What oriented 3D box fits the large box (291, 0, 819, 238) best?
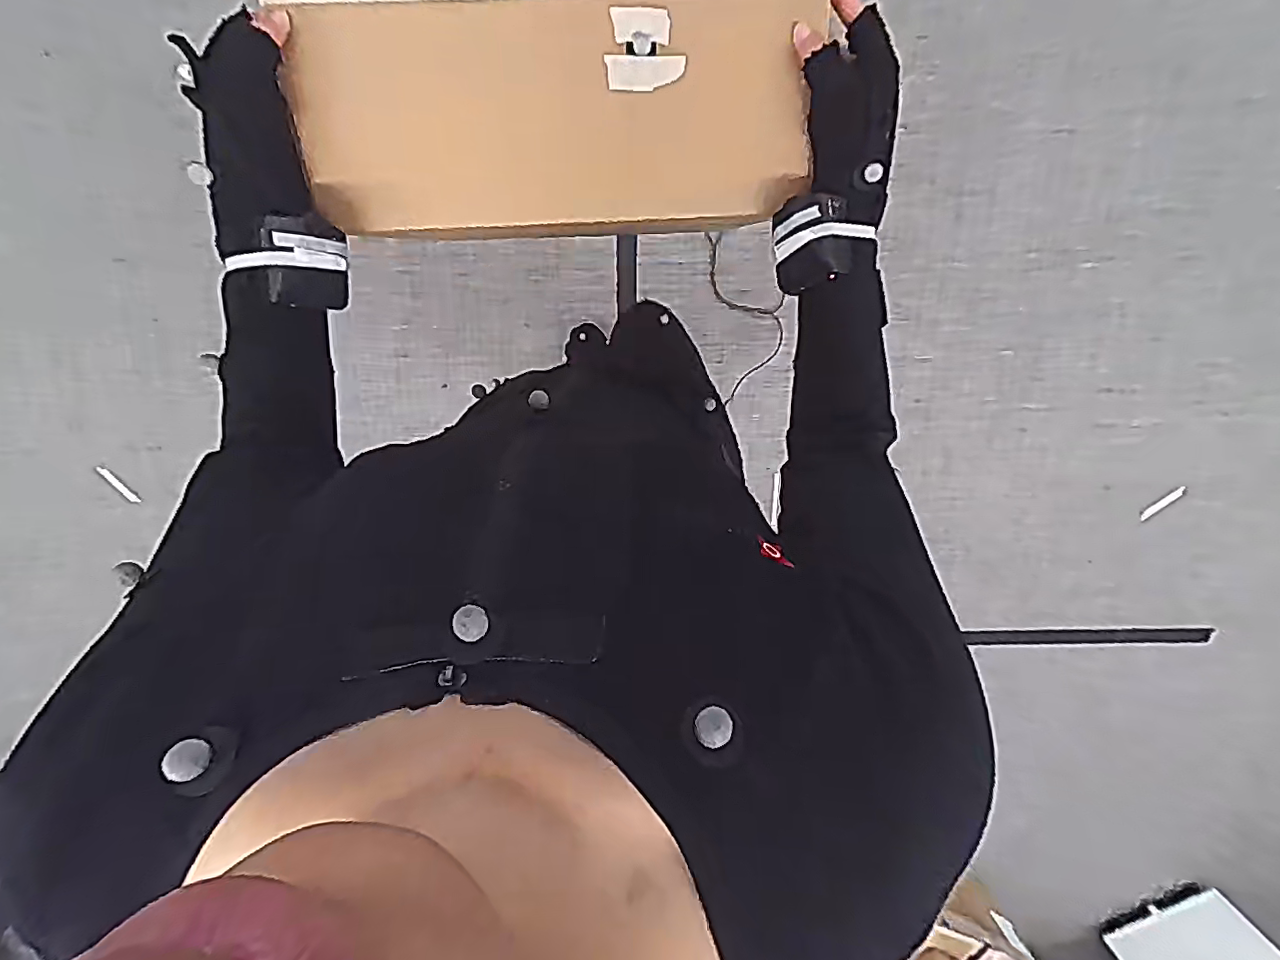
[{"bbox_3d":[-0.070,-0.426,0.539,0.408,0.320,0.320,-3,113,-2],"label":"large box"}]
